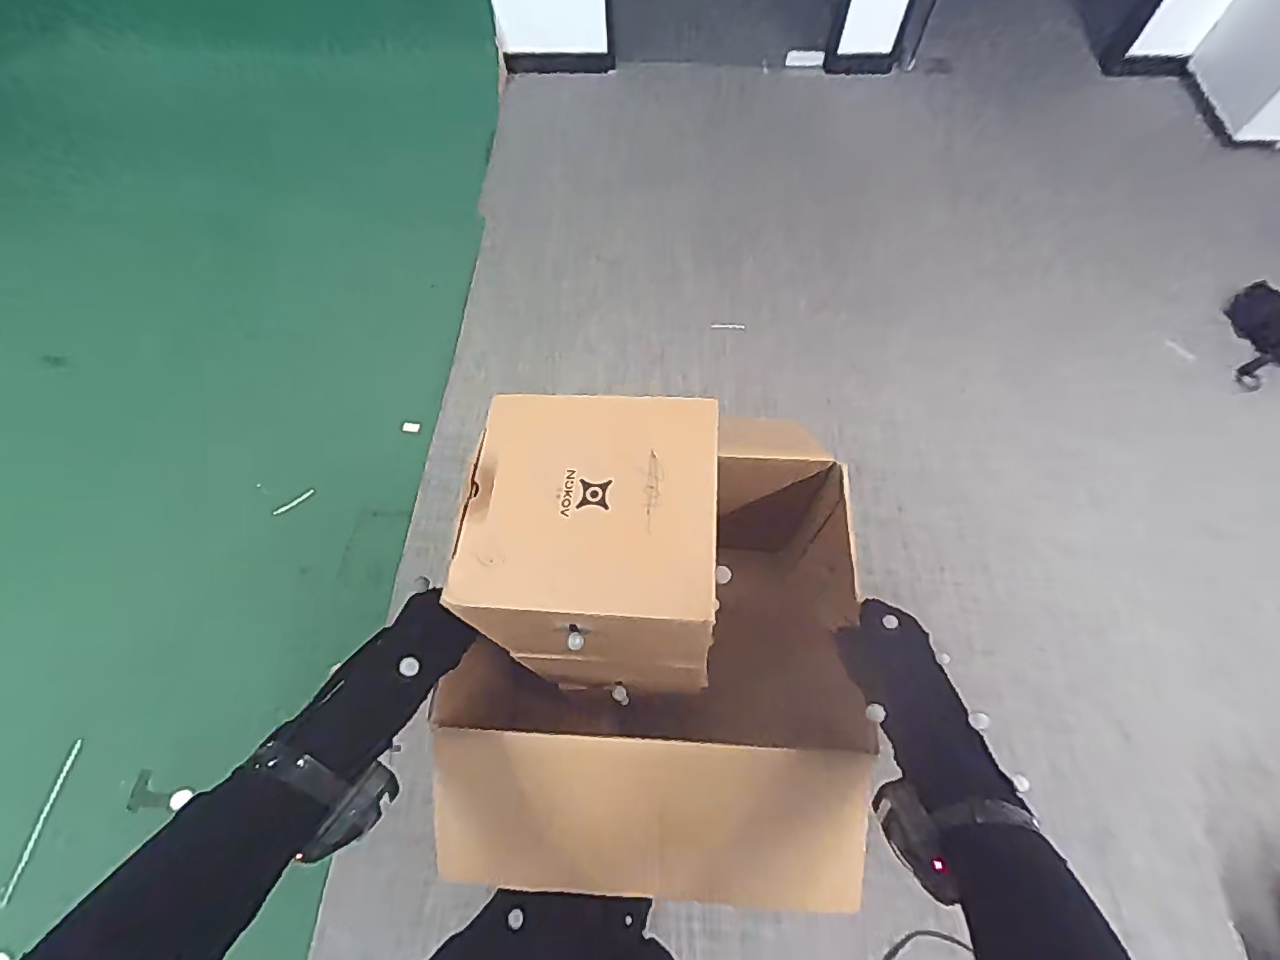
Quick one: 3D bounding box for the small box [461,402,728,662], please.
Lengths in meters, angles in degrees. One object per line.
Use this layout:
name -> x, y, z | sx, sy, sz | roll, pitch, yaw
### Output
small box -> -0.021, 0.052, 0.450 | 0.179, 0.176, 0.168 | 1, 63, 4
